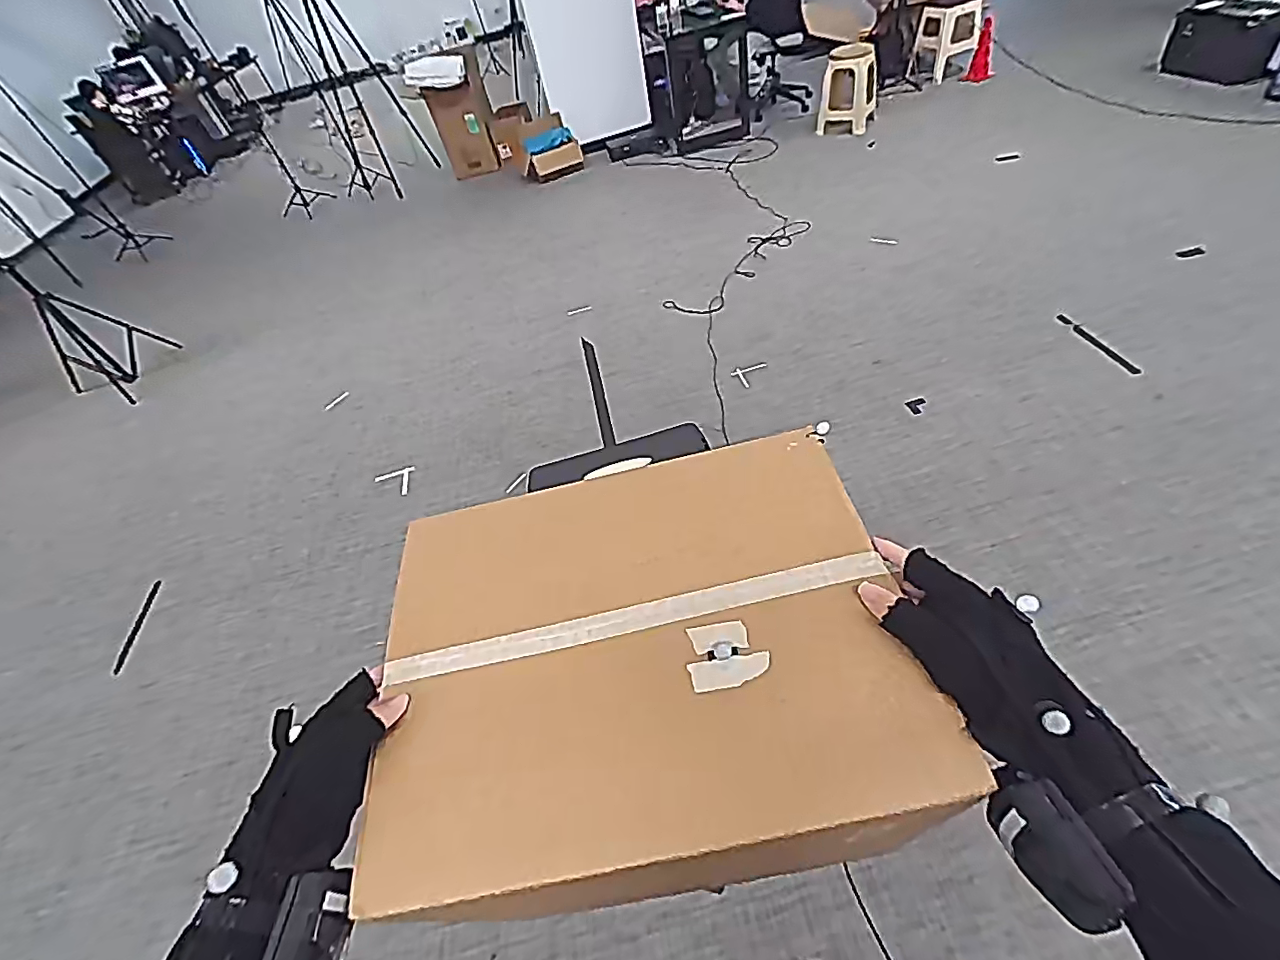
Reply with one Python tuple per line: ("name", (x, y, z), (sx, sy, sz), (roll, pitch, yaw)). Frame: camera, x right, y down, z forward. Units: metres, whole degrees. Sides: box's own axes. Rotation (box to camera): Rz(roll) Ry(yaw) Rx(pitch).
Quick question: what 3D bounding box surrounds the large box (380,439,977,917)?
("large box", (0.023, 0.211, 0.553), (0.408, 0.320, 0.320), (-13, 50, 2))
